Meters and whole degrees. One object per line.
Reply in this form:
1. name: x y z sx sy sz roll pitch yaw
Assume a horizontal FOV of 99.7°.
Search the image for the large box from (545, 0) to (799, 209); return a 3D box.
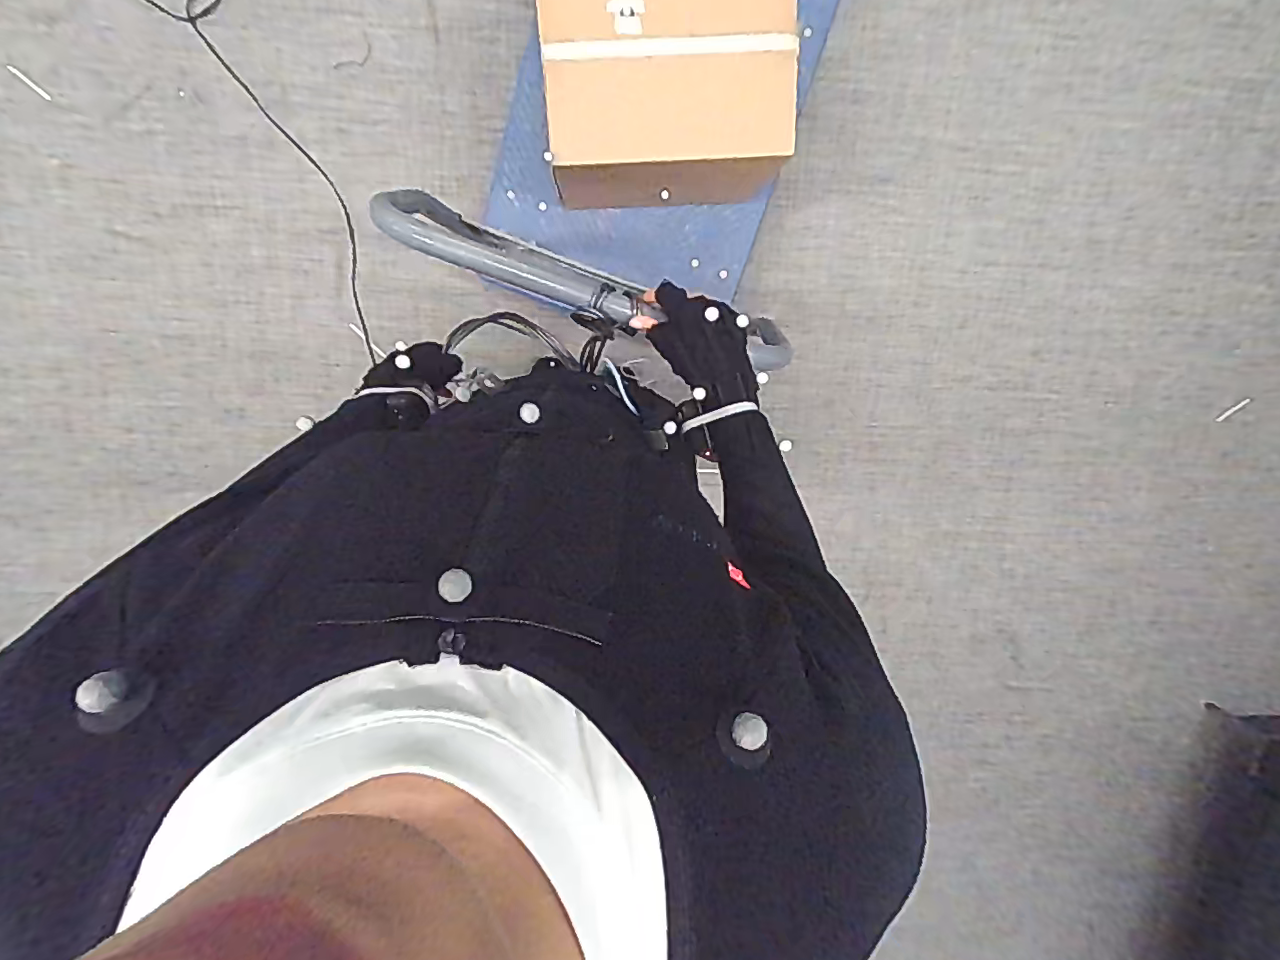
1. large box: 0.052 -0.713 1.005 0.408 0.320 0.320 -4 104 -2
